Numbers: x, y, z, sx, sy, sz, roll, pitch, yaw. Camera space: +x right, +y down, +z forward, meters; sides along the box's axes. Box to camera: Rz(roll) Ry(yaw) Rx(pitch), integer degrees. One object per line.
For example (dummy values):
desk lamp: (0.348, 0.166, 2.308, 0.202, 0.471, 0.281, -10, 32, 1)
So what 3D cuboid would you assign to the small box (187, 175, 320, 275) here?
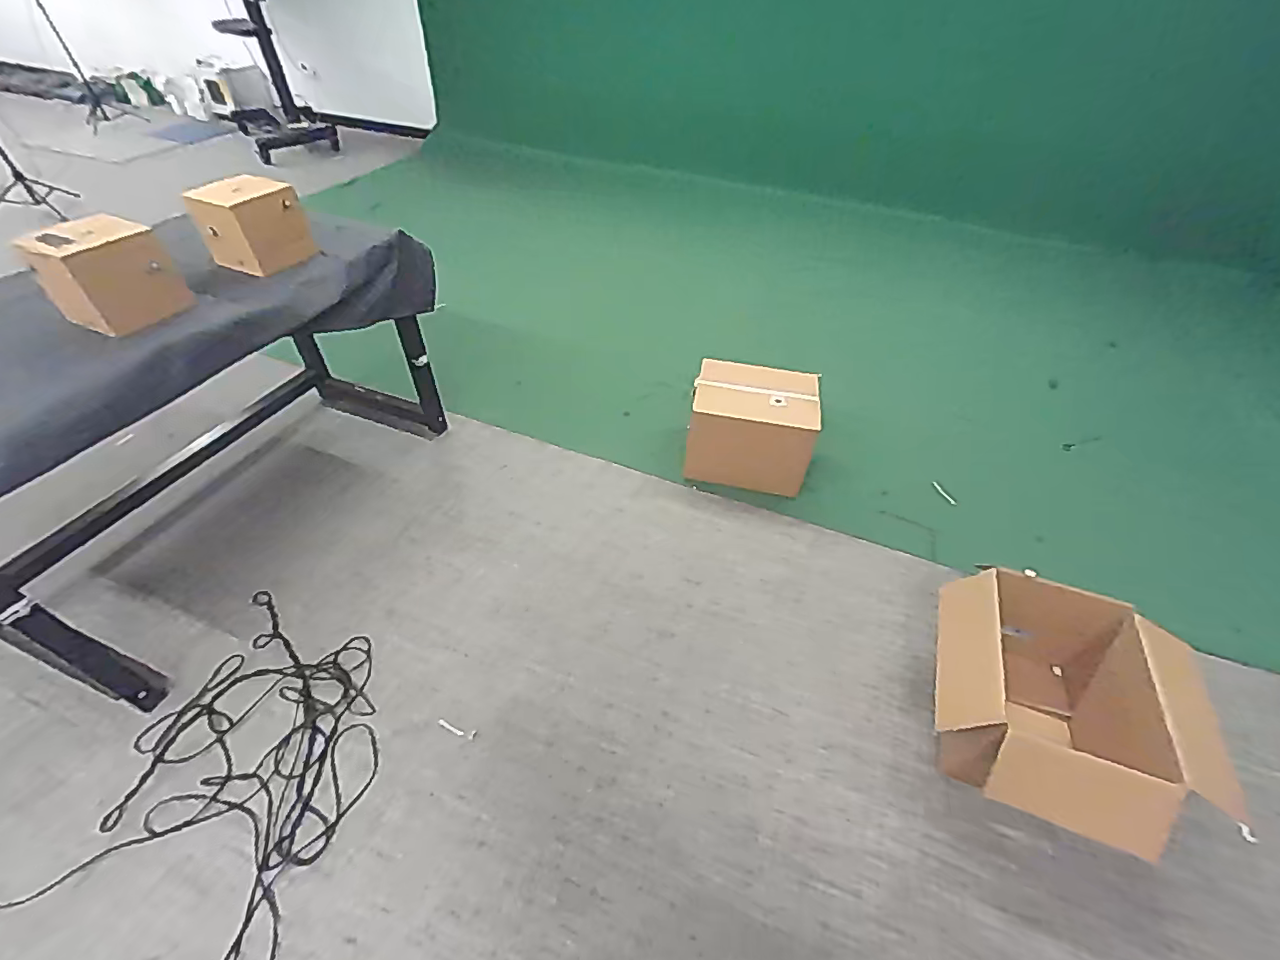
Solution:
small box: (-0.940, -0.629, 1.335, 0.168, 0.176, 0.179, 19, 47, 16)
